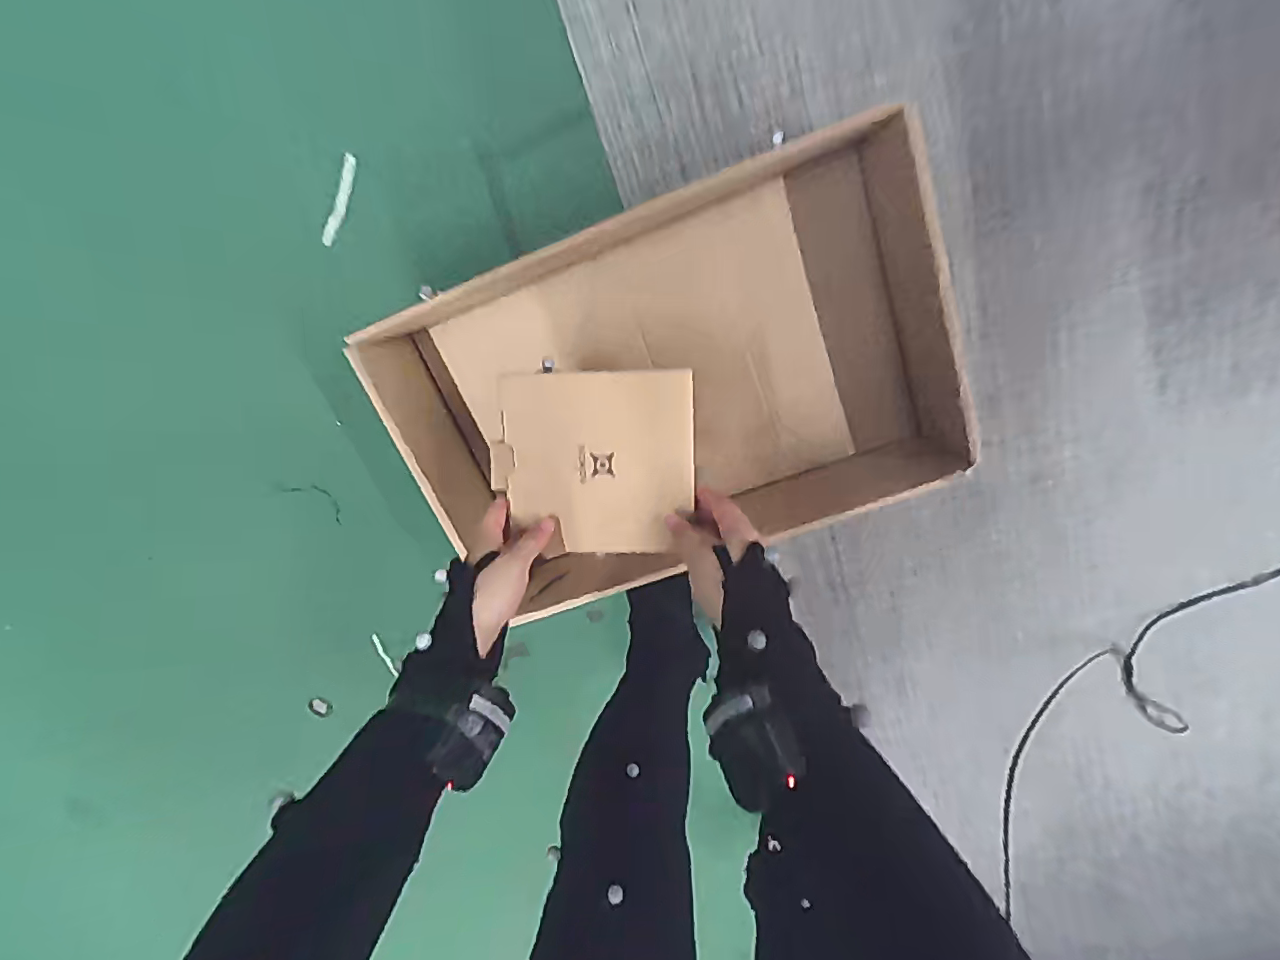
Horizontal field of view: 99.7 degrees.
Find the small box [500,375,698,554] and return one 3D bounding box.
[{"bbox_3d":[-0.032,-0.026,0.568,0.179,0.176,0.168,-1,99,5],"label":"small box"}]
